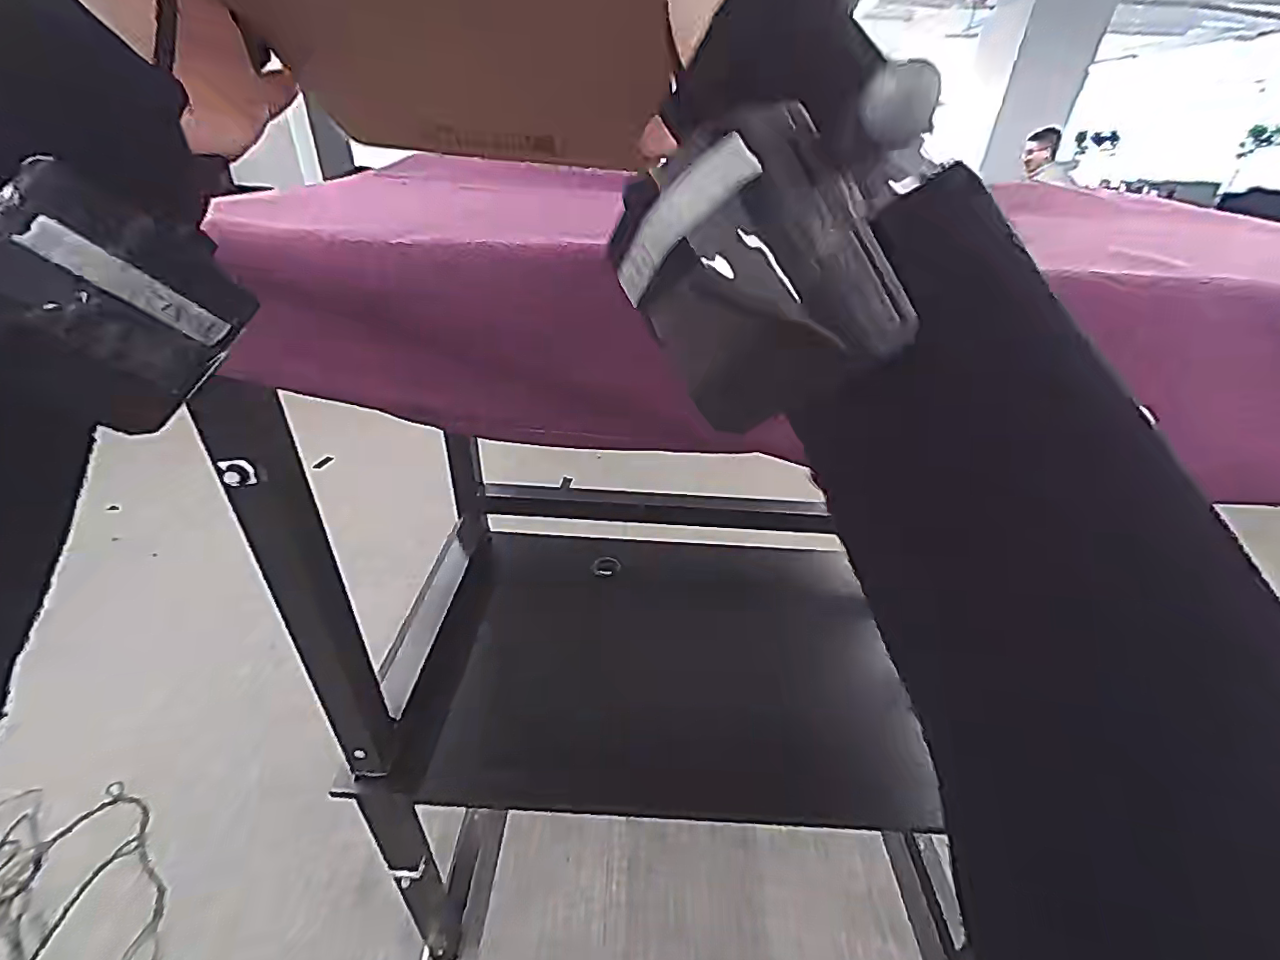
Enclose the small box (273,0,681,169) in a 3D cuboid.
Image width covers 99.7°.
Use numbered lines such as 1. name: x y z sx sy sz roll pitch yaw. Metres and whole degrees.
1. small box: -0.061 -0.259 0.207 0.168 0.179 0.176 4 0 -2
